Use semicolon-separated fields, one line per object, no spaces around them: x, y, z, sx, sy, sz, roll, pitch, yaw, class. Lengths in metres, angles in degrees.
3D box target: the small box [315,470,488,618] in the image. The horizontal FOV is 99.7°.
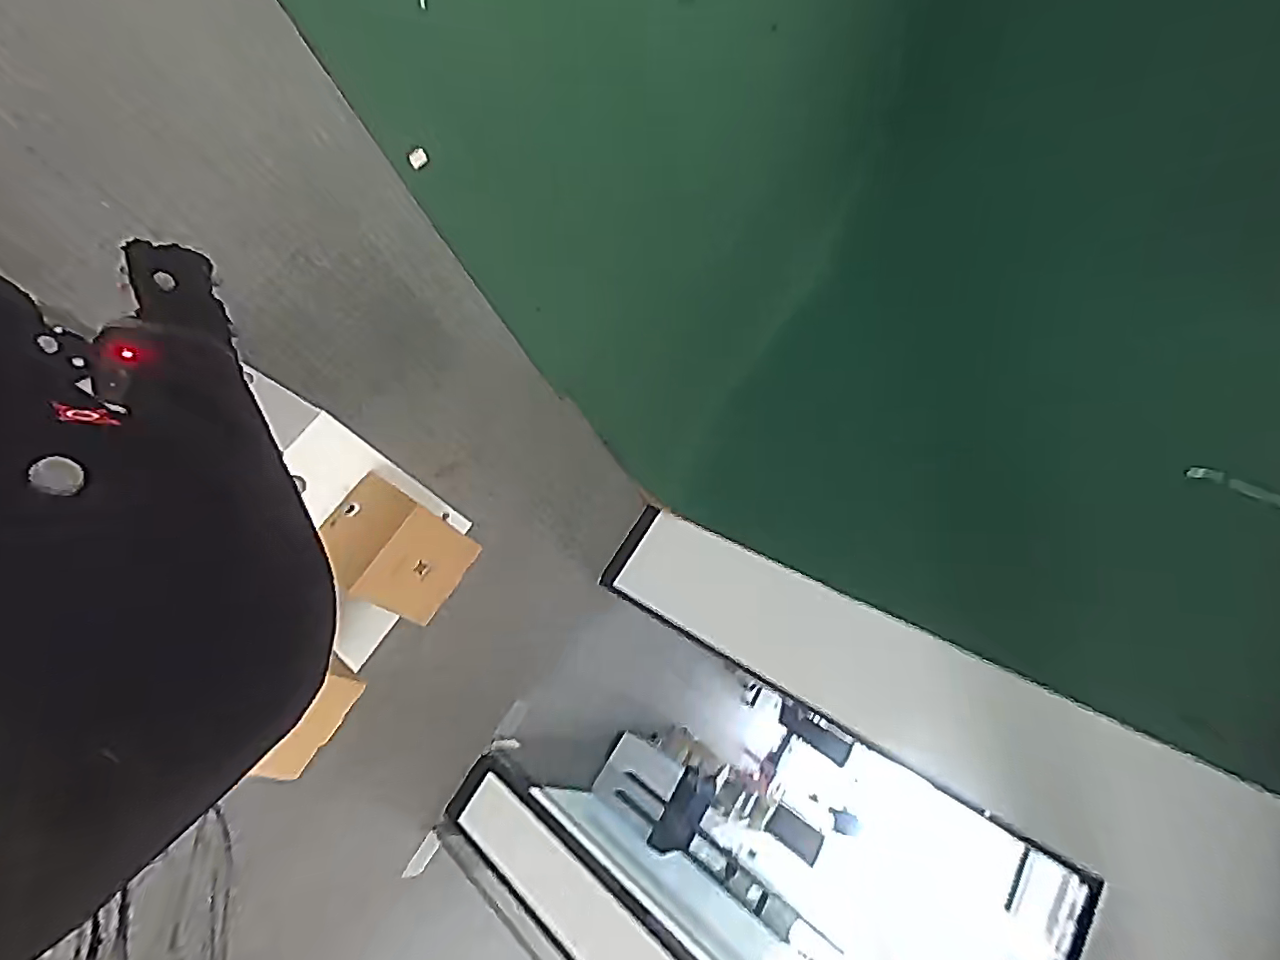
-0.407;0.107;0.932;0.168;0.176;0.179;-56;144;-14;small box
